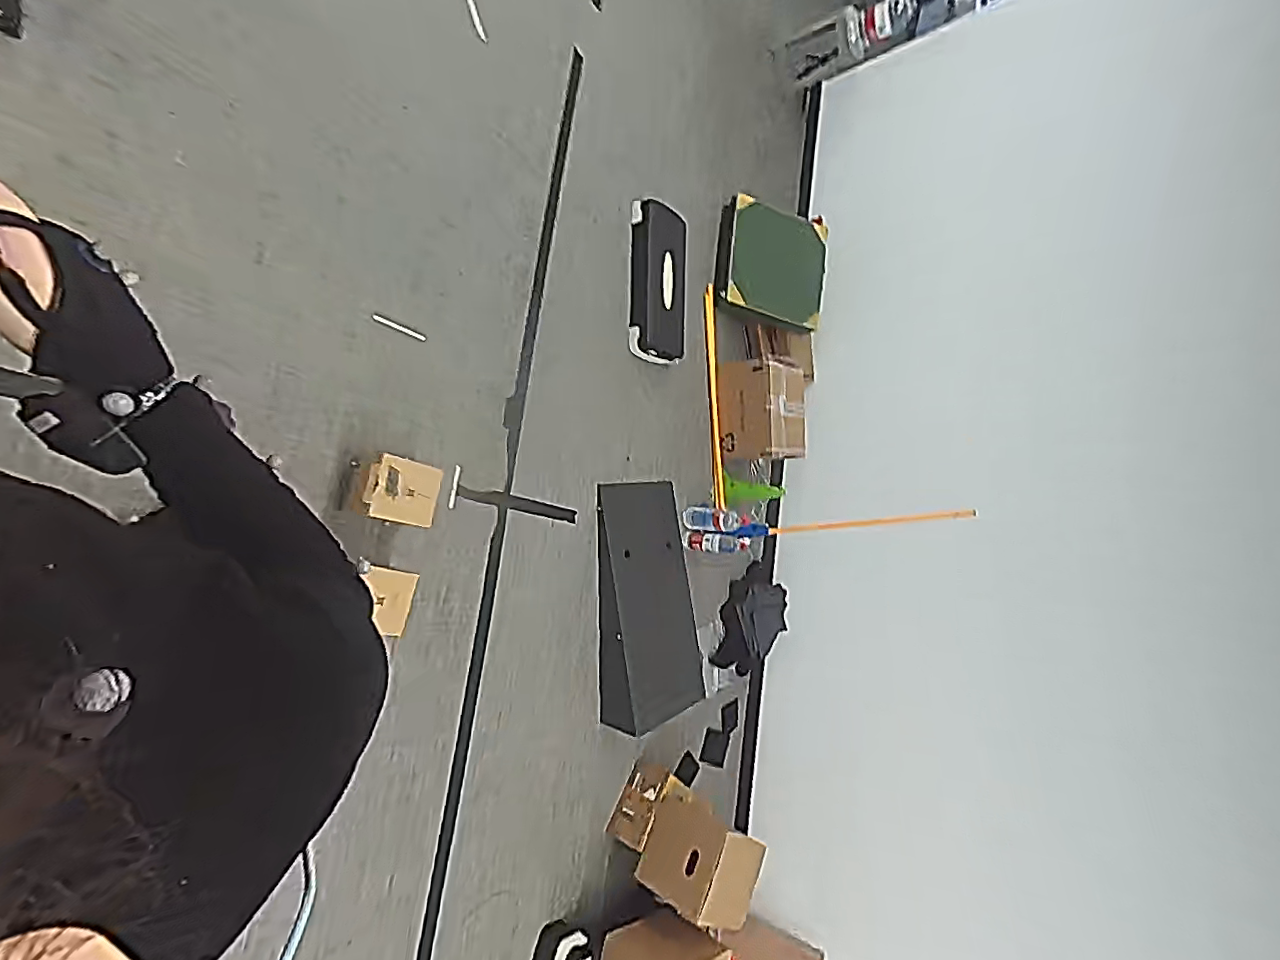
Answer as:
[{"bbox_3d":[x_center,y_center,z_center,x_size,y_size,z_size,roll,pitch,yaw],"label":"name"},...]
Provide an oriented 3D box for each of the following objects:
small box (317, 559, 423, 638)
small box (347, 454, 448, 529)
[{"bbox_3d":[-0.708,0.307,1.412,0.179,0.176,0.168,26,71,-47],"label":"small box"},{"bbox_3d":[-0.659,0.033,1.463,0.179,0.176,0.168,22,74,-48],"label":"small box"}]
